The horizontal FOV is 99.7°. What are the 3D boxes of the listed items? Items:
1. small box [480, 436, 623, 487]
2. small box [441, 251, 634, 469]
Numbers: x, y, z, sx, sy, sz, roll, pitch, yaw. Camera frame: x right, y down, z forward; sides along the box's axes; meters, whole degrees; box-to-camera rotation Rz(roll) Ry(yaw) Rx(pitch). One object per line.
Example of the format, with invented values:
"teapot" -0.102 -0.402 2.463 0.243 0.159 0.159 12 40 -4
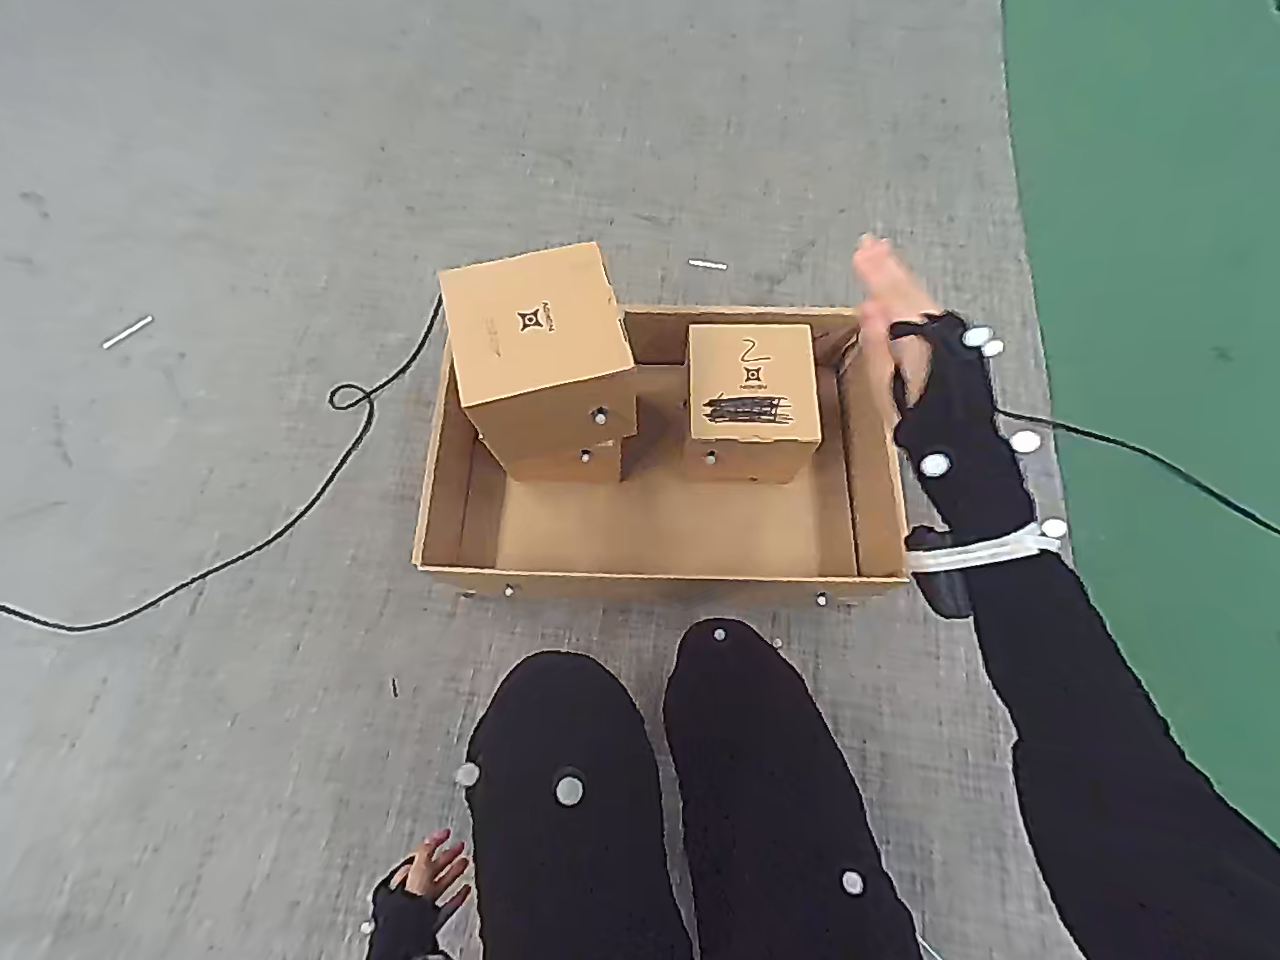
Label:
"small box" -0.115 -0.092 0.789 0.179 0.176 0.168 2 71 0
"small box" -0.109 -0.129 0.630 0.179 0.176 0.168 -14 72 -4
